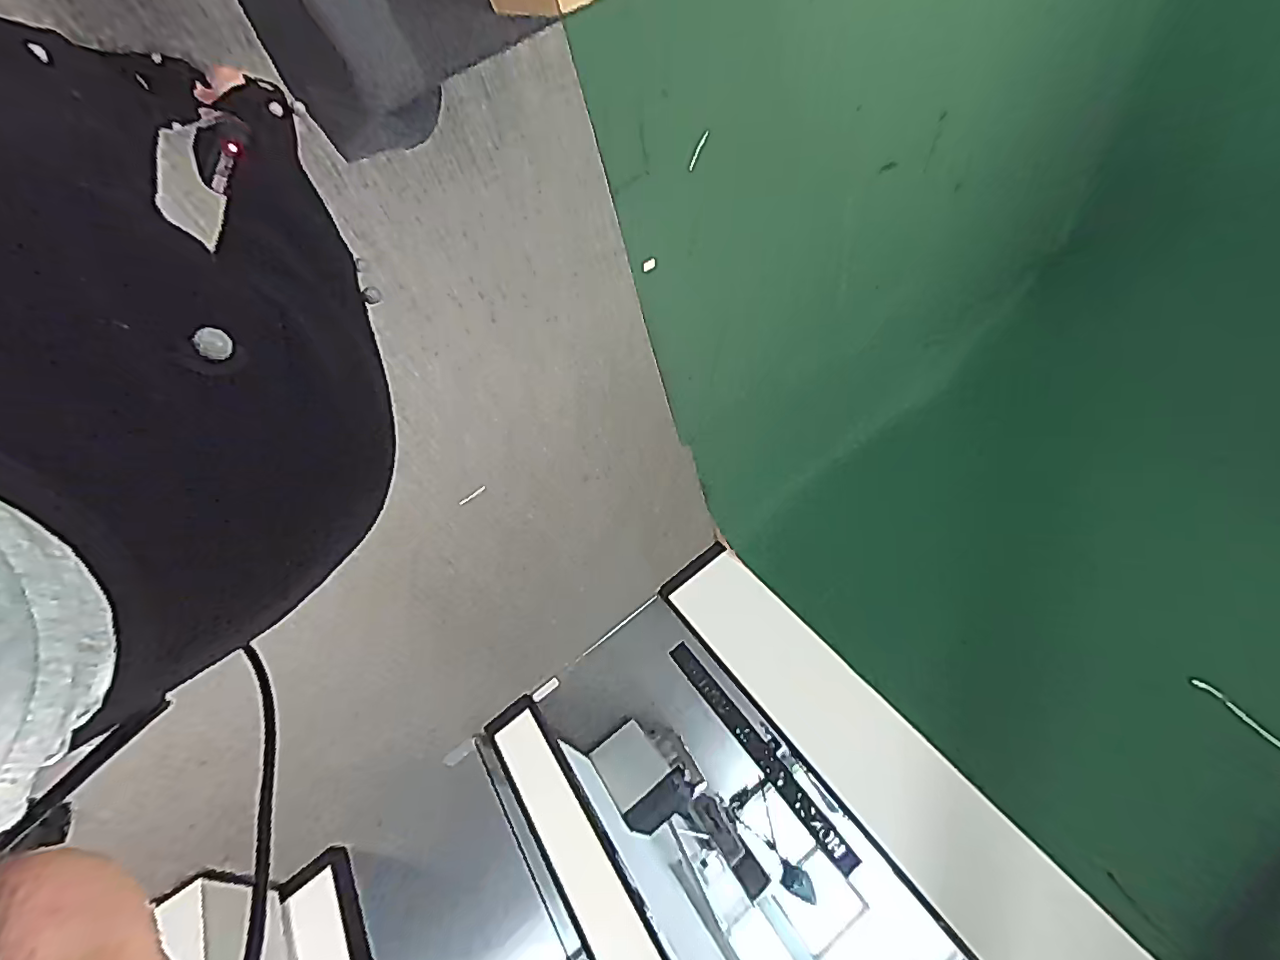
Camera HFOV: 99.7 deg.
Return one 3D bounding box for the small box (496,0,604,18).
[{"bbox_3d":[-0.076,-0.606,0.554,0.179,0.176,0.168,-36,141,-11],"label":"small box"}]
